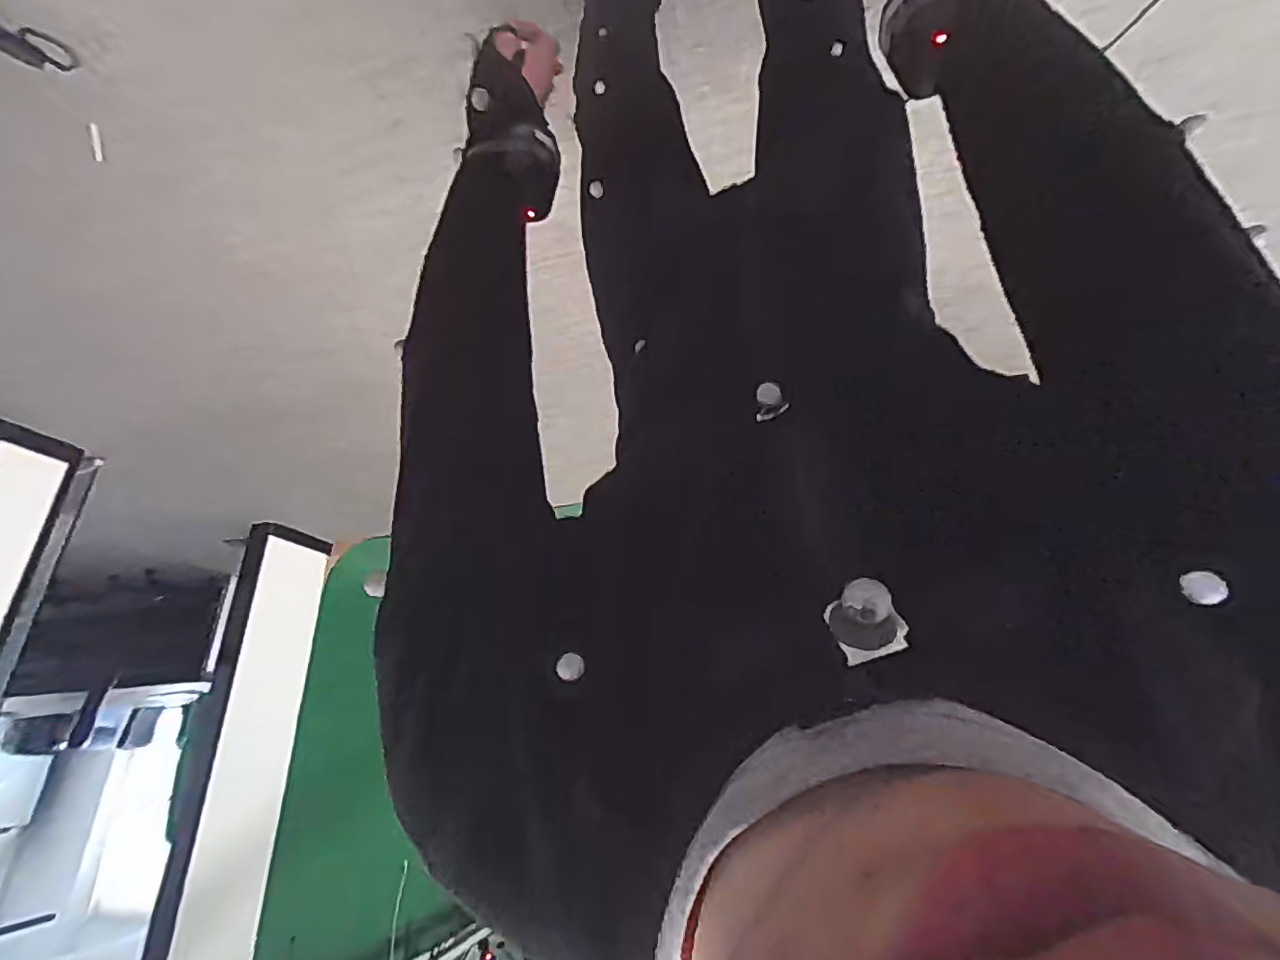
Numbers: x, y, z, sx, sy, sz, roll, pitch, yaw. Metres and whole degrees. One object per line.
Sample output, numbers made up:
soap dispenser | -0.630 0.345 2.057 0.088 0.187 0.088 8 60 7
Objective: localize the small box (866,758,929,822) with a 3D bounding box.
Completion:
small box | 0.877 1.054 1.847 0.168 0.176 0.179 -11 156 22
